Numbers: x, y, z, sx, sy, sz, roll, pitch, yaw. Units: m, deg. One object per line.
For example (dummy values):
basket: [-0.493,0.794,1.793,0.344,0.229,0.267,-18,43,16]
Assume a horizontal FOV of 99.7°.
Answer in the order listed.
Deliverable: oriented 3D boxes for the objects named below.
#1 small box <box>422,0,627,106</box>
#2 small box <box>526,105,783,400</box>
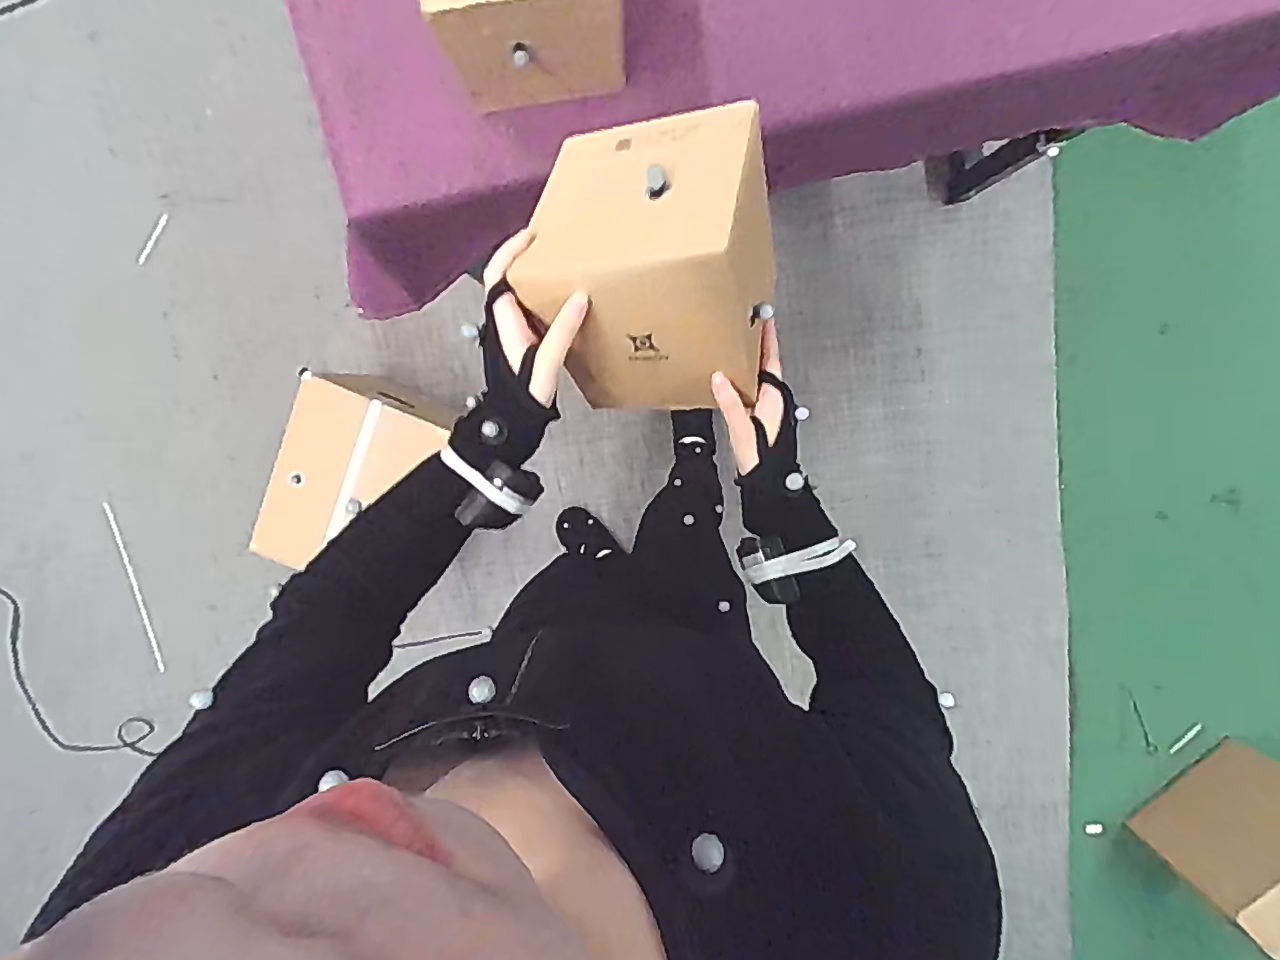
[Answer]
small box: [-0.111,-0.505,0.535,0.179,0.176,0.168,-8,100,2]
small box: [0.030,-0.188,0.468,0.168,0.179,0.176,3,65,20]
